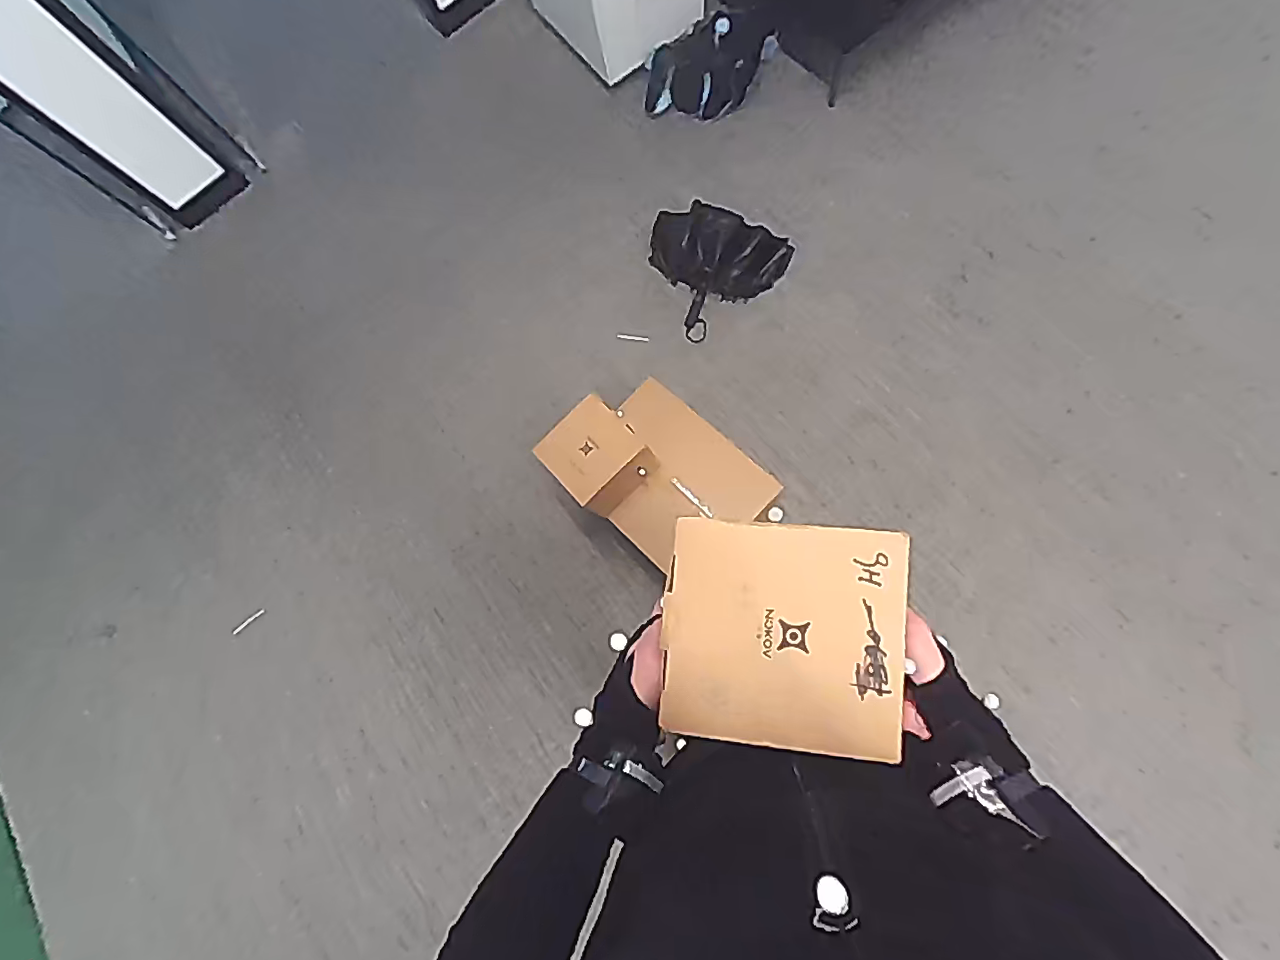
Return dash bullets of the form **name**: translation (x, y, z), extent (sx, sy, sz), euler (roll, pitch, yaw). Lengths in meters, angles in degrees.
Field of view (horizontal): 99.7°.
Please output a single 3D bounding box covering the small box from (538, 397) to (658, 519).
- **small box**: translation (-0.077, -0.040, 1.147), extent (0.179, 0.176, 0.168), euler (-45, 72, 1)
